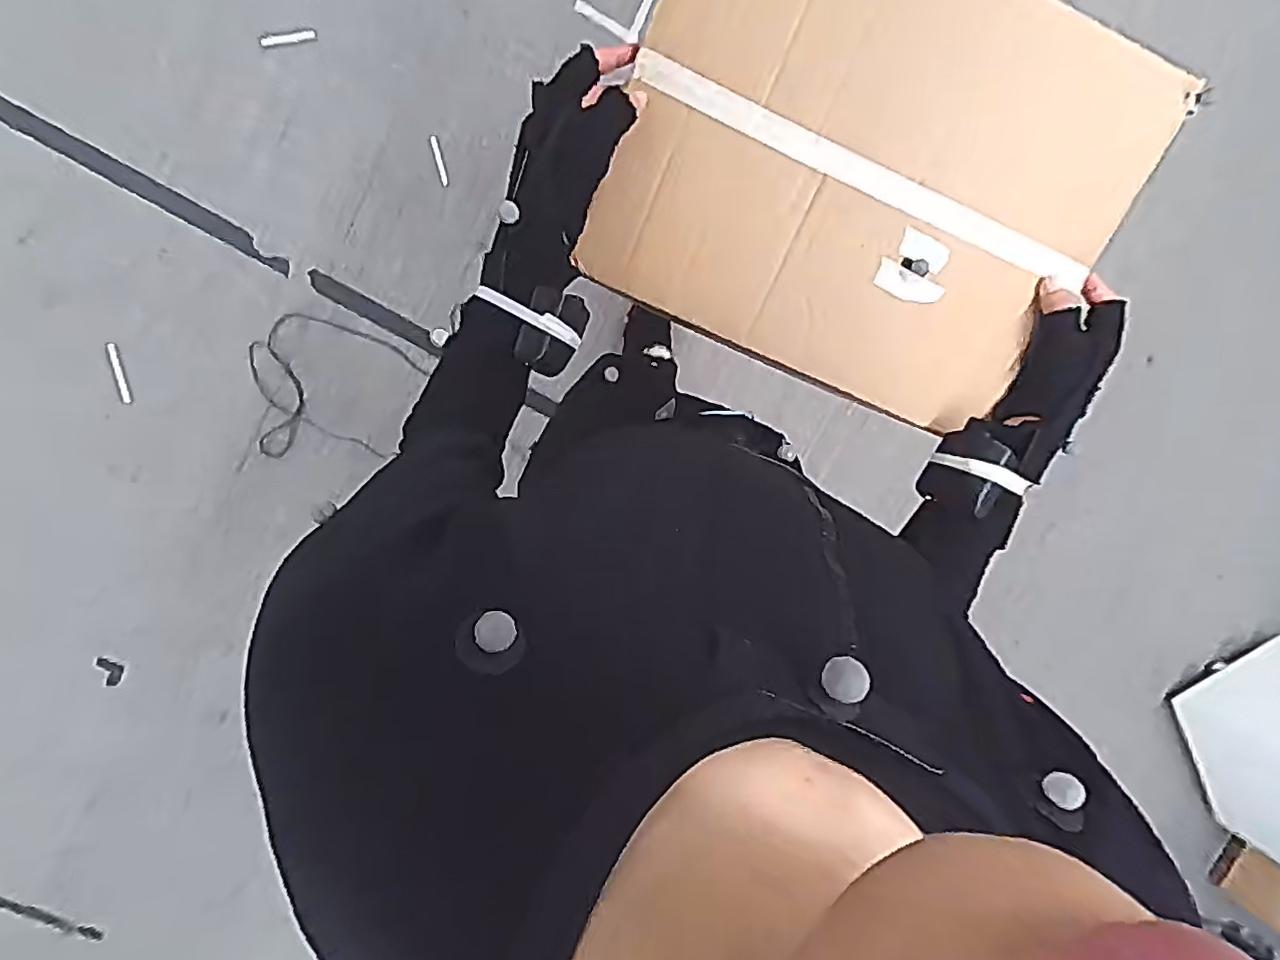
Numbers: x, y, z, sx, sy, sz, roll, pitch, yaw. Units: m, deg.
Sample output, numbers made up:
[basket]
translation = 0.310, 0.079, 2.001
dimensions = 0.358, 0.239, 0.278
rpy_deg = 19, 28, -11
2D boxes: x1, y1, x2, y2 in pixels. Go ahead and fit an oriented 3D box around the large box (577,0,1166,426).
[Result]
[large box]
translation = 0.180, -0.298, 0.591
dimensions = 0.408, 0.320, 0.320
rpy_deg = 22, 107, -7
